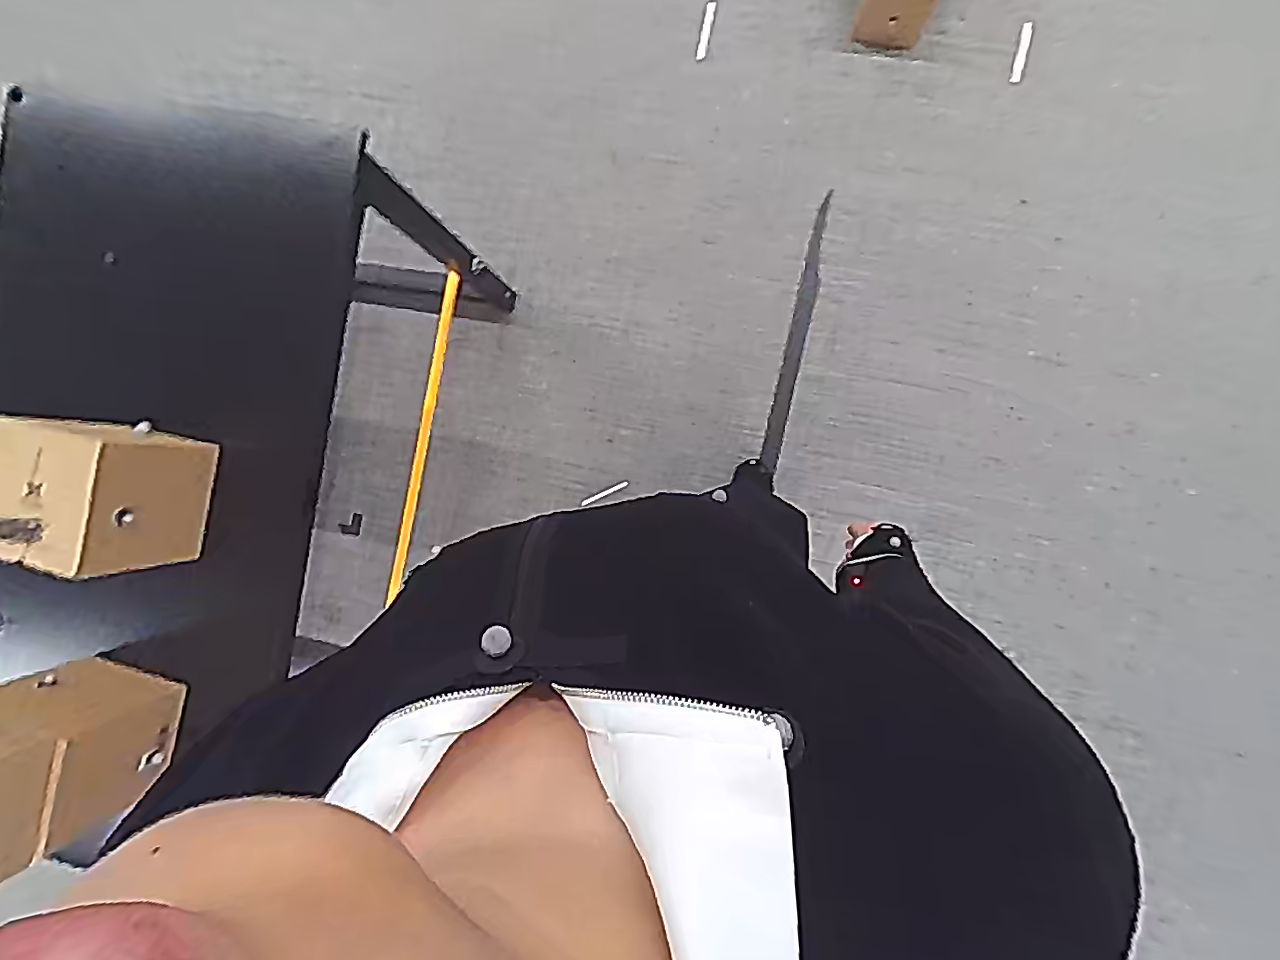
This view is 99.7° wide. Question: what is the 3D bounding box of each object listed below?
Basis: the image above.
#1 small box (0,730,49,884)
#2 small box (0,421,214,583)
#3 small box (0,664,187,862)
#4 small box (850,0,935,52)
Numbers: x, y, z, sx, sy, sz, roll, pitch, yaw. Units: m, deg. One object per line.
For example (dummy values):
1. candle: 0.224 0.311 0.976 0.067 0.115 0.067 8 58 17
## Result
1. small box: -0.832 0.388 0.602 0.168 0.176 0.179 14 93 6
2. small box: -0.743 0.025 0.751 0.168 0.176 0.179 12 92 6
3. small box: -0.807 0.381 0.765 0.179 0.176 0.168 14 93 5
4. small box: 0.629 -1.199 1.322 0.168 0.176 0.179 13 93 5
